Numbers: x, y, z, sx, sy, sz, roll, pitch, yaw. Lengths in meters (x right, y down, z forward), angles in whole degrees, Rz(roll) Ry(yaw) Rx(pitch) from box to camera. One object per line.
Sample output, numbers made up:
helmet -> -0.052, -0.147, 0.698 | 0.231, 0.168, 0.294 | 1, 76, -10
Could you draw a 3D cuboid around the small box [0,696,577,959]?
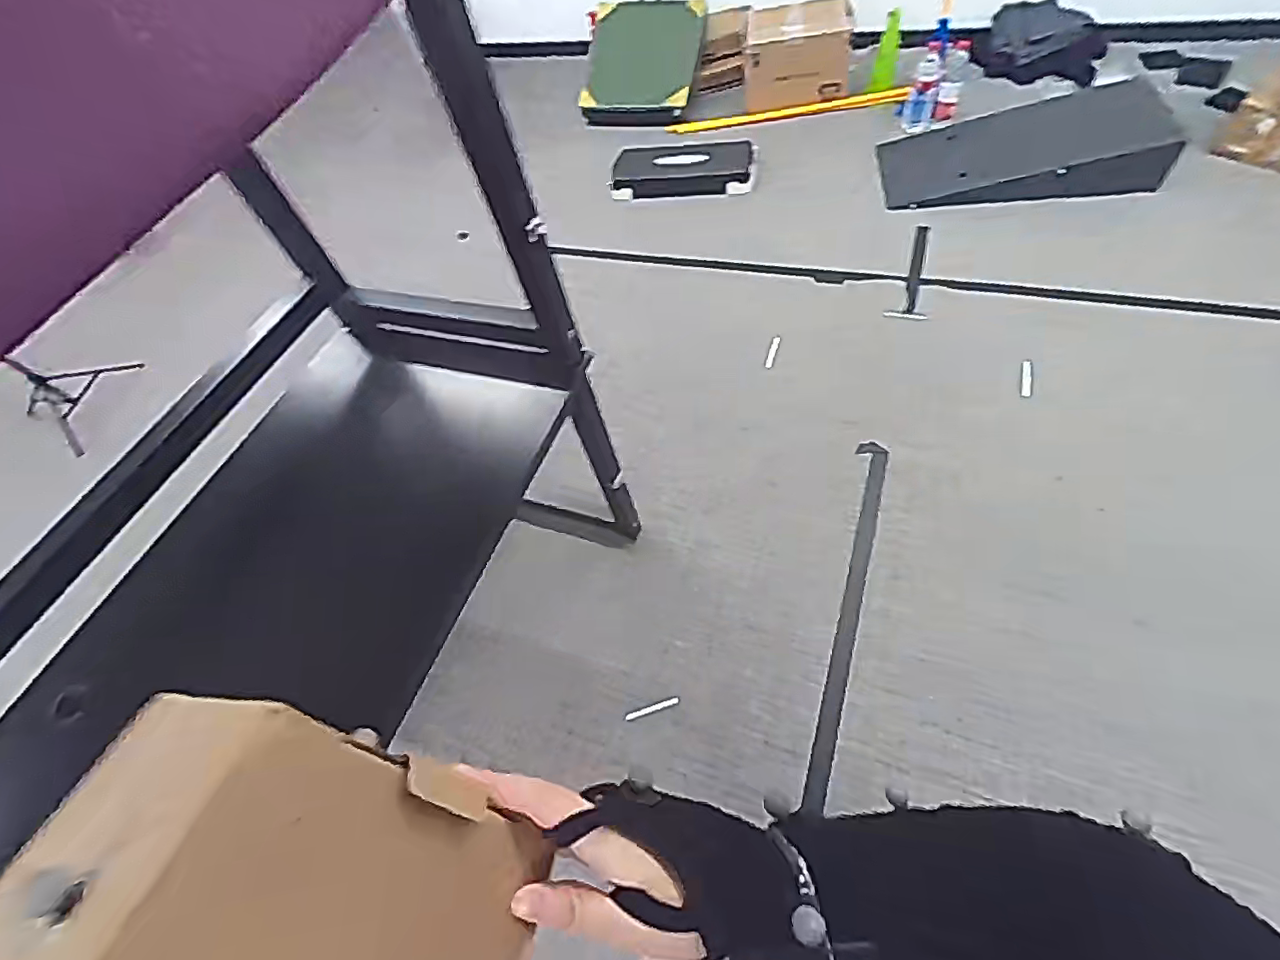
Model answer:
small box -> -0.163, 0.214, 0.232 | 0.176, 0.168, 0.179 | -18, 36, 37
